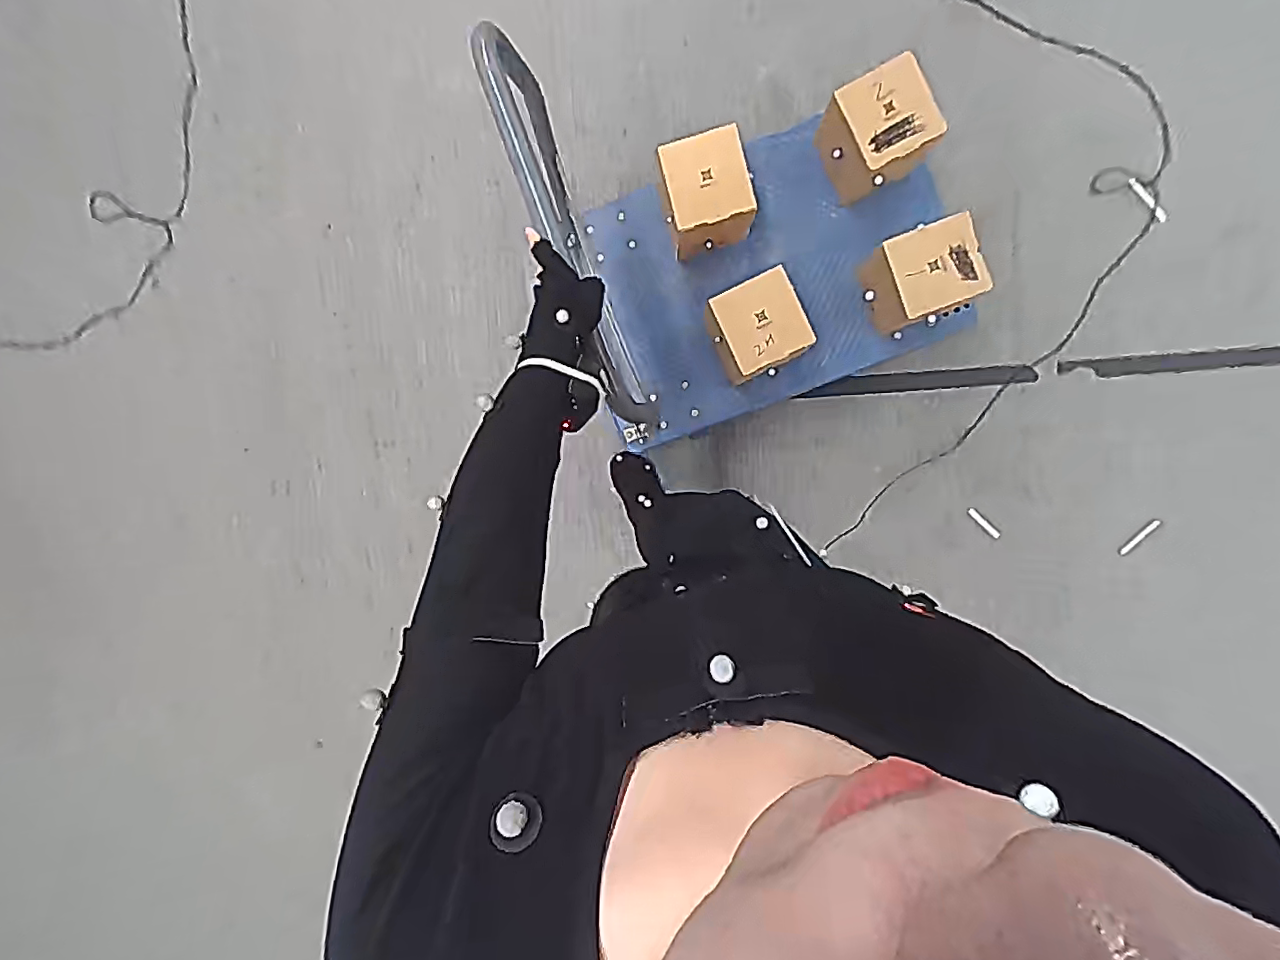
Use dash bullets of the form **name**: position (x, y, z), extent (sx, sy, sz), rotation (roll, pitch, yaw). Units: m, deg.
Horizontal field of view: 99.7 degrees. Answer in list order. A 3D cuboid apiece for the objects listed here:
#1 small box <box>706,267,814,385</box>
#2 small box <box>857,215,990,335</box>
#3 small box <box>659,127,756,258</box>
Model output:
- **small box**: position (0.251, -0.326, 1.181), extent (0.168, 0.176, 0.179), rotation (-25, 91, 5)
- **small box**: position (0.595, -0.427, 1.156), extent (0.179, 0.176, 0.168), rotation (-19, 92, 5)
- **small box**: position (0.138, -0.613, 1.172), extent (0.168, 0.176, 0.179), rotation (-15, 94, 4)
